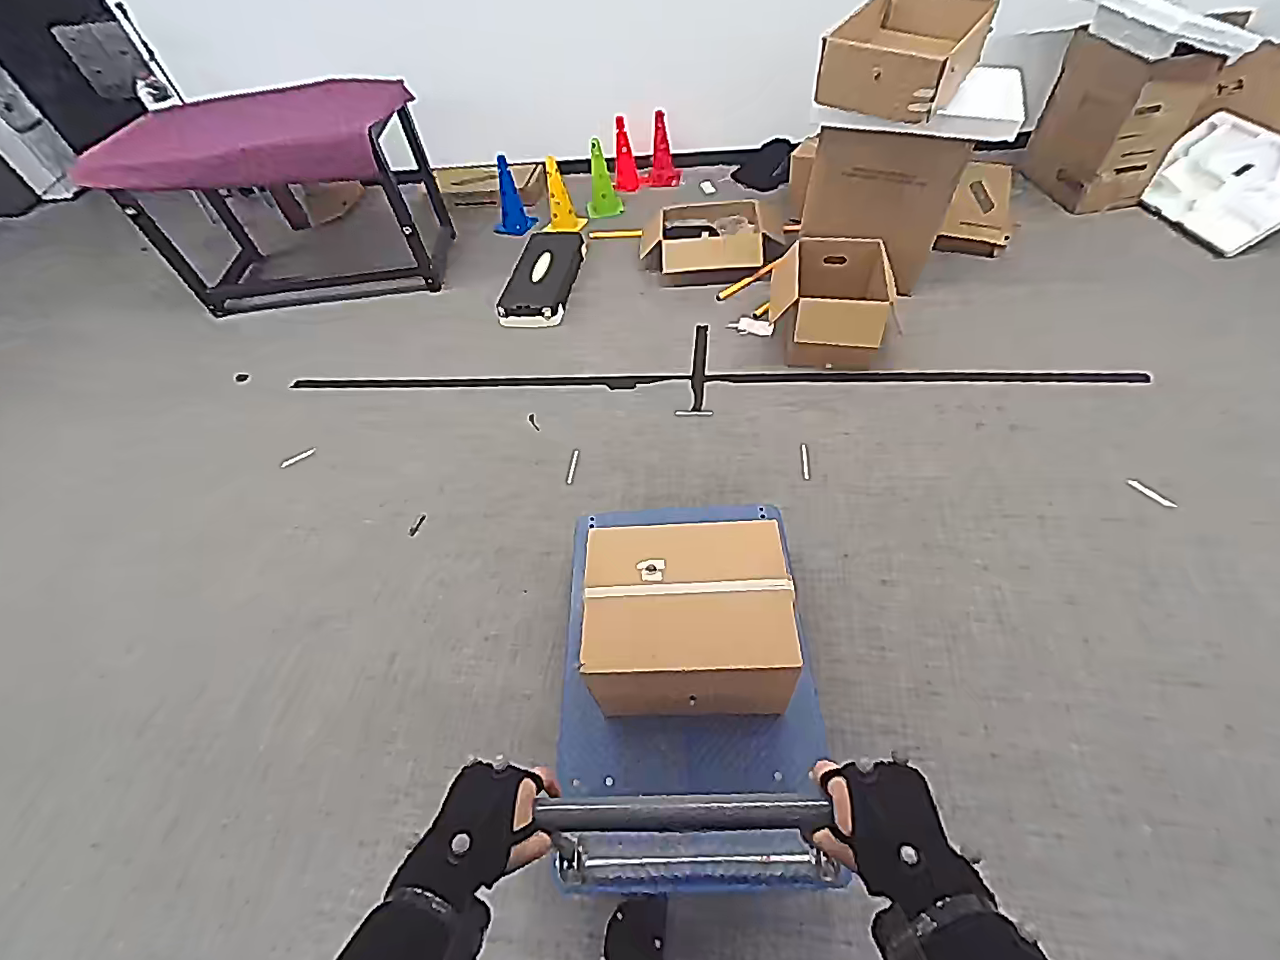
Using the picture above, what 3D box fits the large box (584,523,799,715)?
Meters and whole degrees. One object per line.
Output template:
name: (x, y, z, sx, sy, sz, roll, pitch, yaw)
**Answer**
large box: (0.108, 0.320, 1.204, 0.408, 0.320, 0.320, -4, 51, 5)
